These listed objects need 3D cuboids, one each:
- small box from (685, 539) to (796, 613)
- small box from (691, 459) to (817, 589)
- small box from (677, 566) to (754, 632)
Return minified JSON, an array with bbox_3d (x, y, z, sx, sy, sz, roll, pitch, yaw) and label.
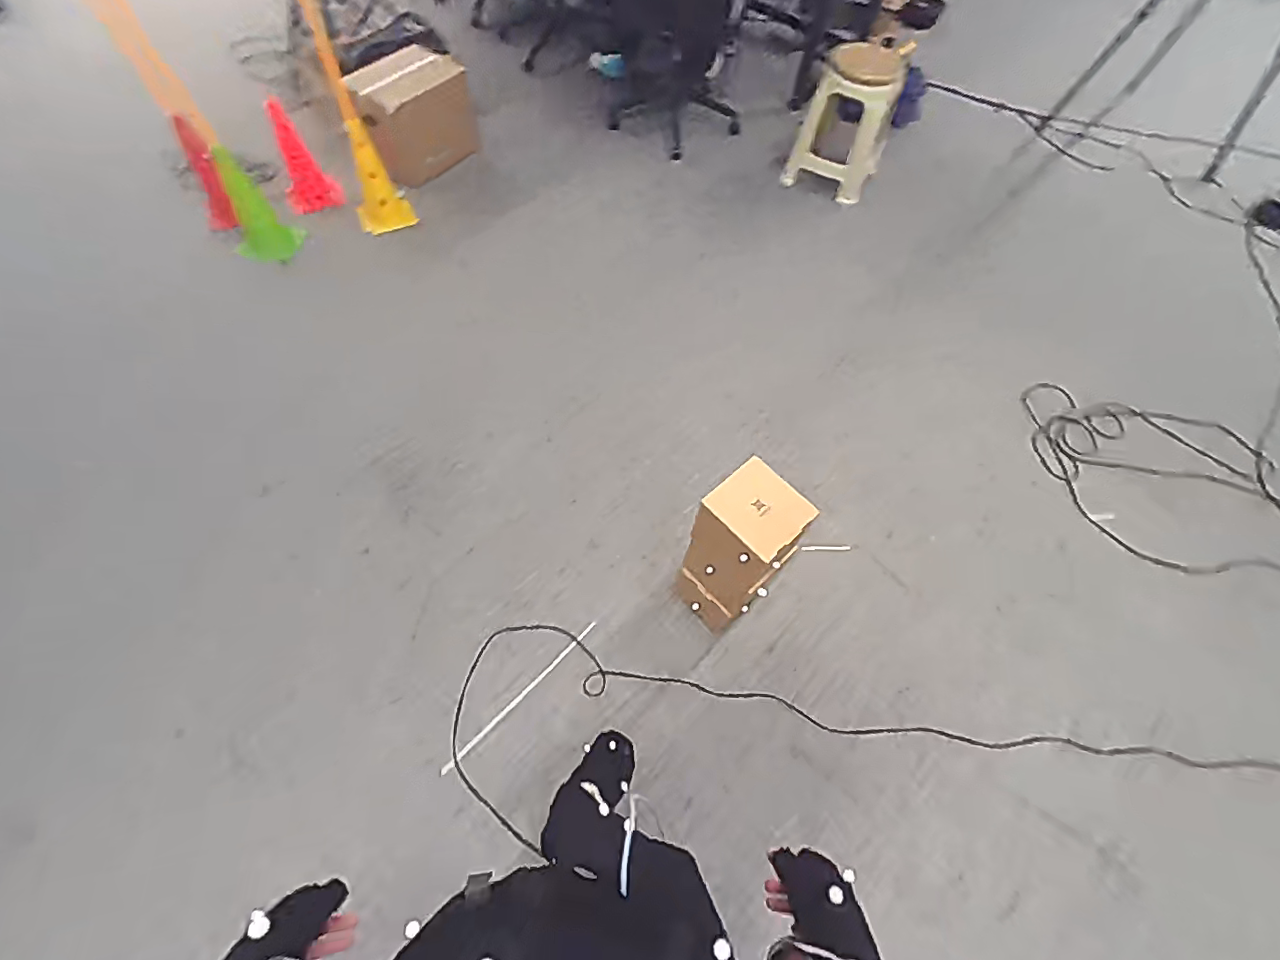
[{"bbox_3d":[0.223,0.182,1.261,0.168,0.176,0.179,-38,70,-22],"label":"small box"},{"bbox_3d":[0.226,0.096,1.123,0.168,0.176,0.179,-38,70,-22],"label":"small box"},{"bbox_3d":[0.209,0.267,1.401,0.179,0.176,0.168,-39,70,-22],"label":"small box"}]
